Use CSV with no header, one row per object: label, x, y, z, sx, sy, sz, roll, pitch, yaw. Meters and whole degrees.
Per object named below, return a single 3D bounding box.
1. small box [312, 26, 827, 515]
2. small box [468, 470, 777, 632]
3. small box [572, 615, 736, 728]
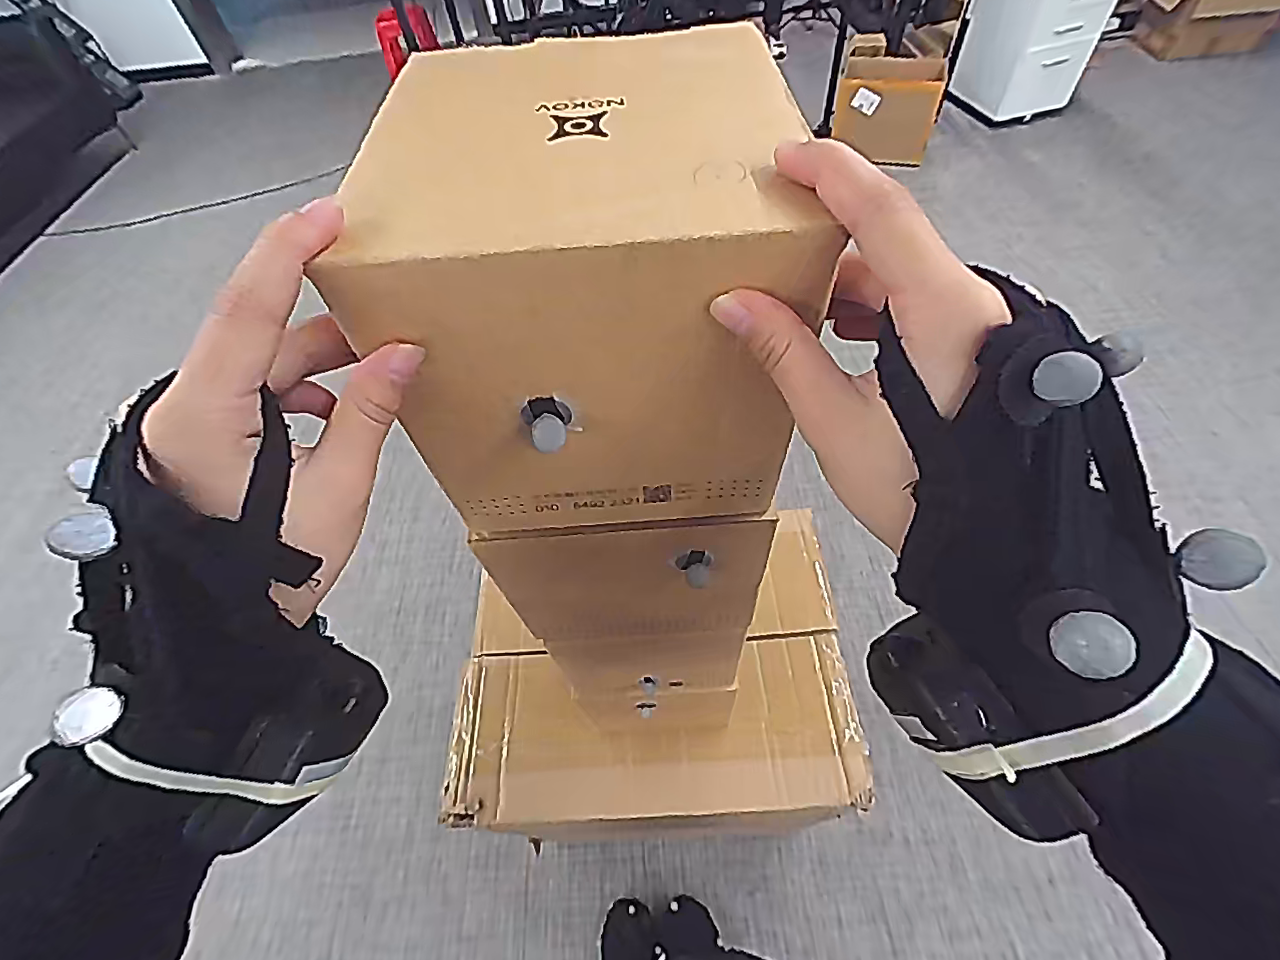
small box,-0.021,-0.093,0.278,0.168,0.176,0.179,-5,54,1
small box,-0.007,0.006,0.409,0.179,0.176,0.168,-5,55,3
small box,0.019,0.202,0.672,0.179,0.176,0.168,-4,54,2
